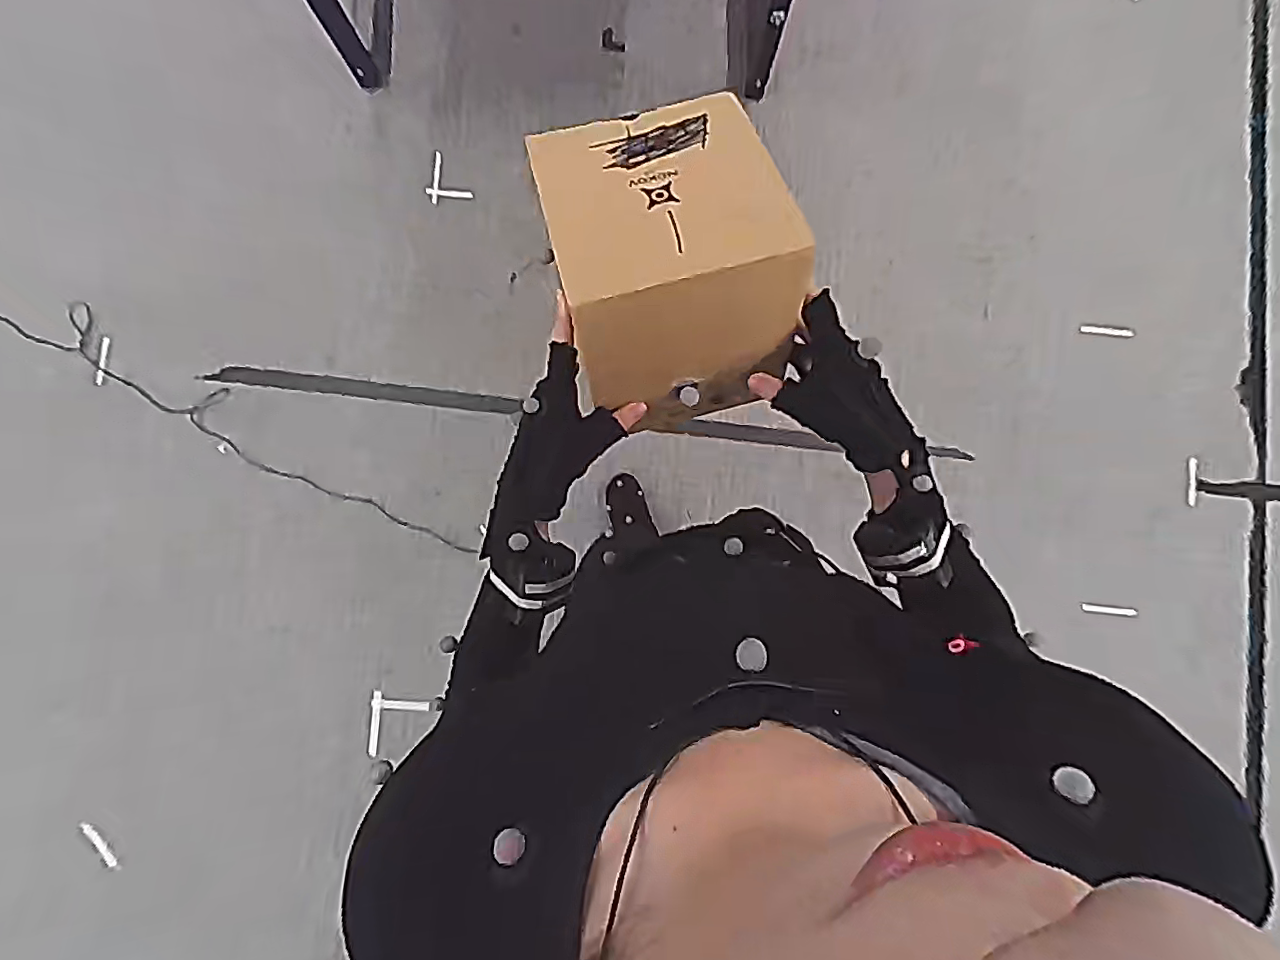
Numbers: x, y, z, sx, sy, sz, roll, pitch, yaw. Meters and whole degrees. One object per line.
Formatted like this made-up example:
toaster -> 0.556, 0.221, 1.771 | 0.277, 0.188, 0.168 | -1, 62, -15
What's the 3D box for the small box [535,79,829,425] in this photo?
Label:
small box -> 0.023, -0.171, 0.434 | 0.168, 0.176, 0.179 | -14, 64, -2
